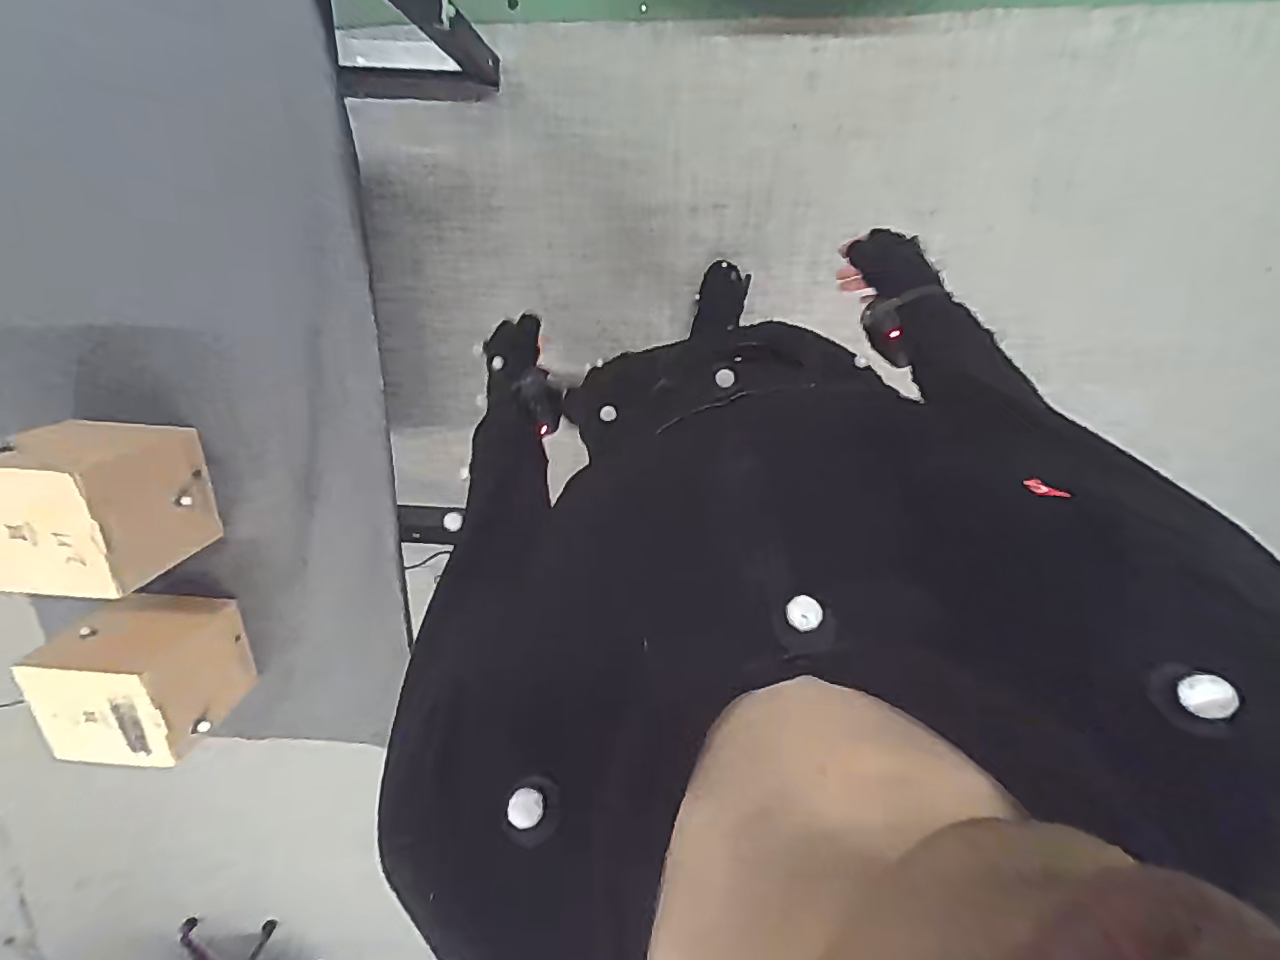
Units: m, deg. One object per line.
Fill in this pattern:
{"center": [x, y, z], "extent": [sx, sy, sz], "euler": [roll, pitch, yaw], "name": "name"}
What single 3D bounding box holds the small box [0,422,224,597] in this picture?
{"center": [-0.691, 0.028, 0.691], "extent": [0.179, 0.176, 0.168], "euler": [4, 113, 1], "name": "small box"}
